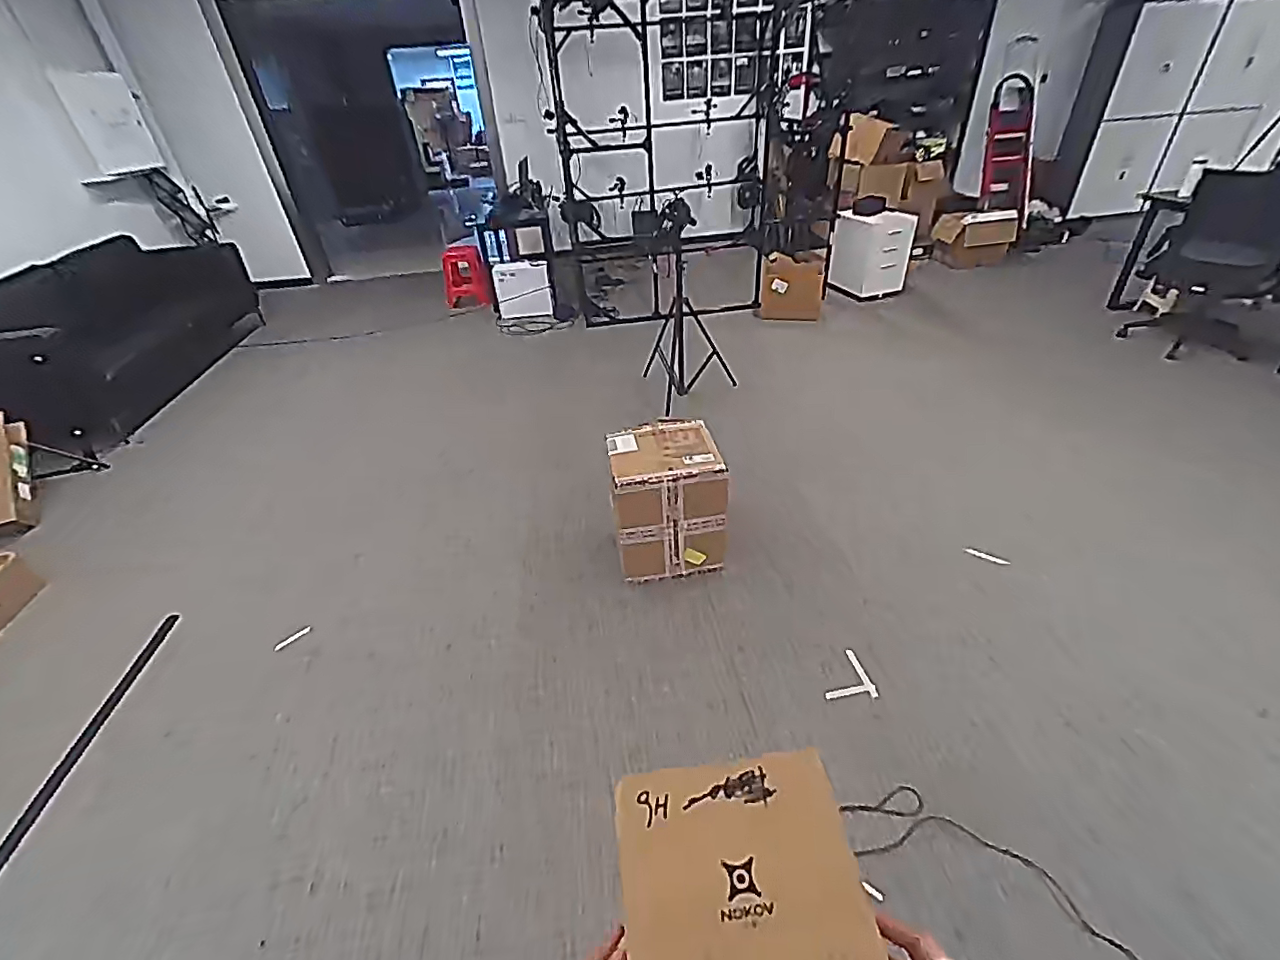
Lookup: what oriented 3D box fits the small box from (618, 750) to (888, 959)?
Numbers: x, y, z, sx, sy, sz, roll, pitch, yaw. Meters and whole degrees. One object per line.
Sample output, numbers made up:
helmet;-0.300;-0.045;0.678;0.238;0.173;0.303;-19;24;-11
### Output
small box;0.079;0.342;0.424;0.168;0.176;0.179;-8;44;-1
